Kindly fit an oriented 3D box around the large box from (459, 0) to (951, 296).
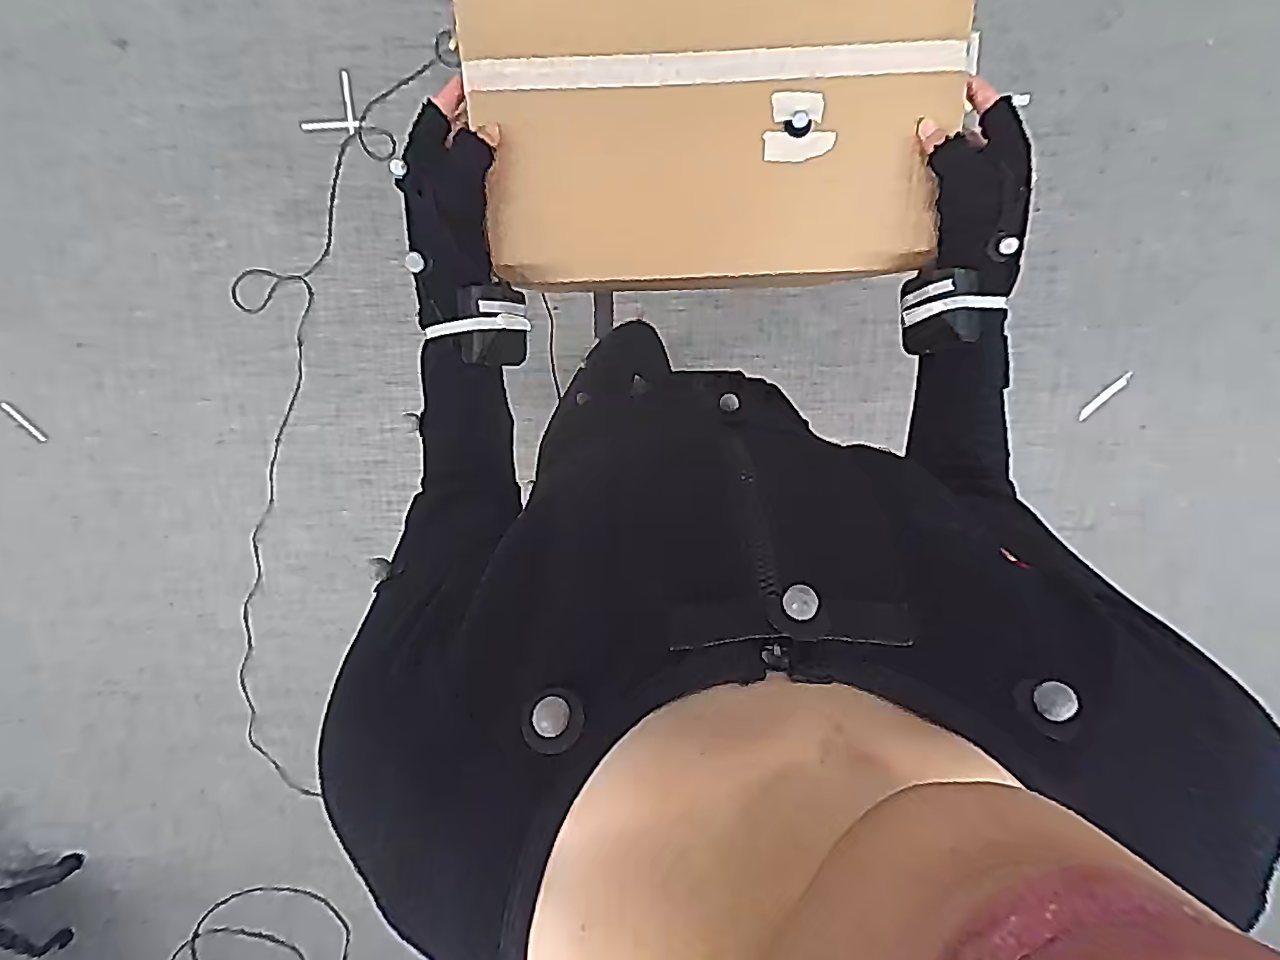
[{"bbox_3d":[0.051,-0.381,0.592,0.408,0.320,0.320,-3,107,-1],"label":"large box"}]
